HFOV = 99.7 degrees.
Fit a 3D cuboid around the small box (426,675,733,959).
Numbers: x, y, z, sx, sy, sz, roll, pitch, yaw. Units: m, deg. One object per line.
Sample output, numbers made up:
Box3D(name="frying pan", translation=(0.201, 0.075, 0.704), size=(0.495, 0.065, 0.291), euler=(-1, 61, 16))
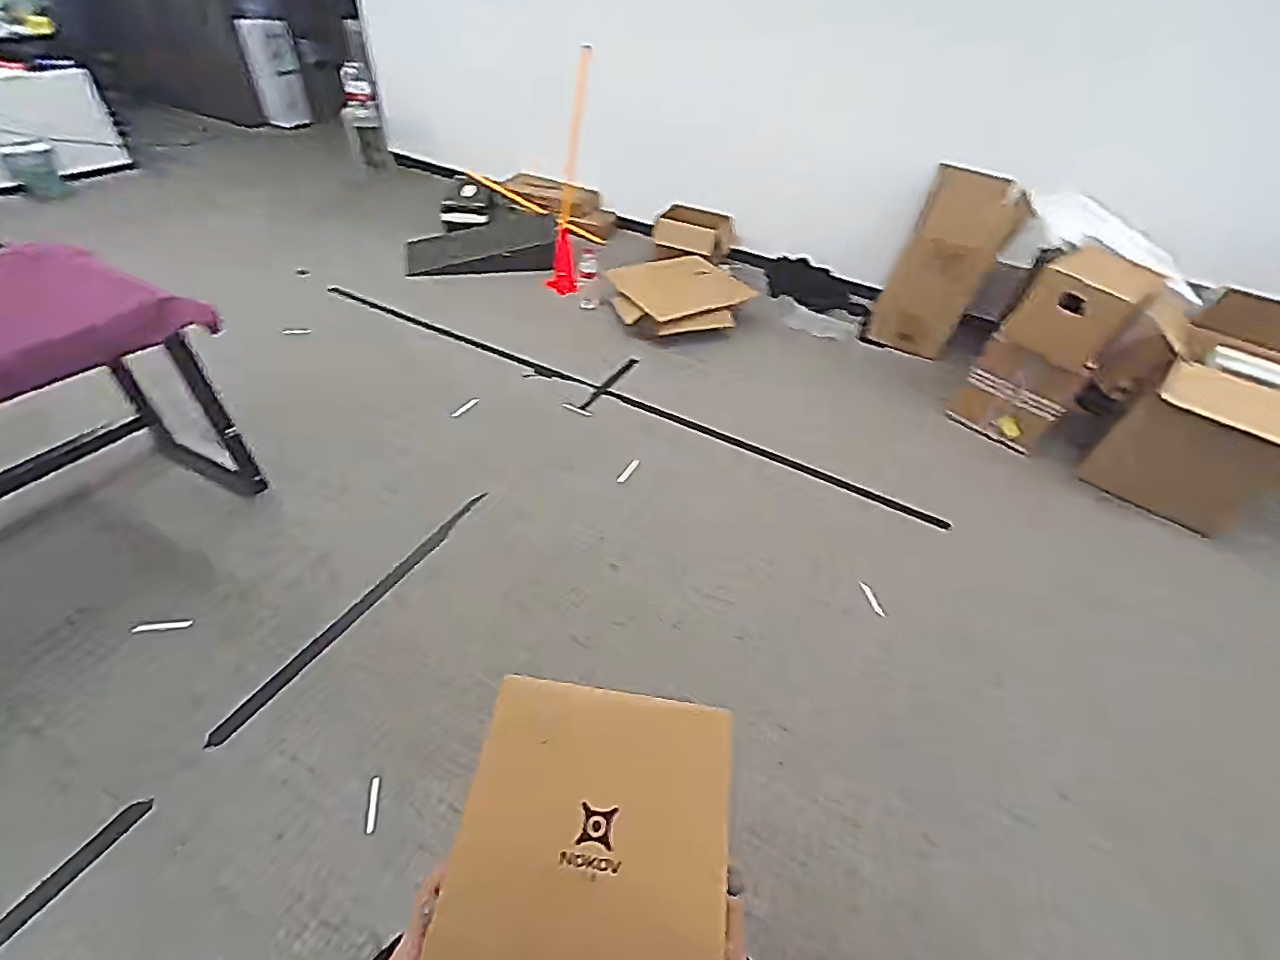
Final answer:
Box3D(name="small box", translation=(-0.031, 0.269, 0.394), size=(0.168, 0.176, 0.179), euler=(8, 50, 2))
